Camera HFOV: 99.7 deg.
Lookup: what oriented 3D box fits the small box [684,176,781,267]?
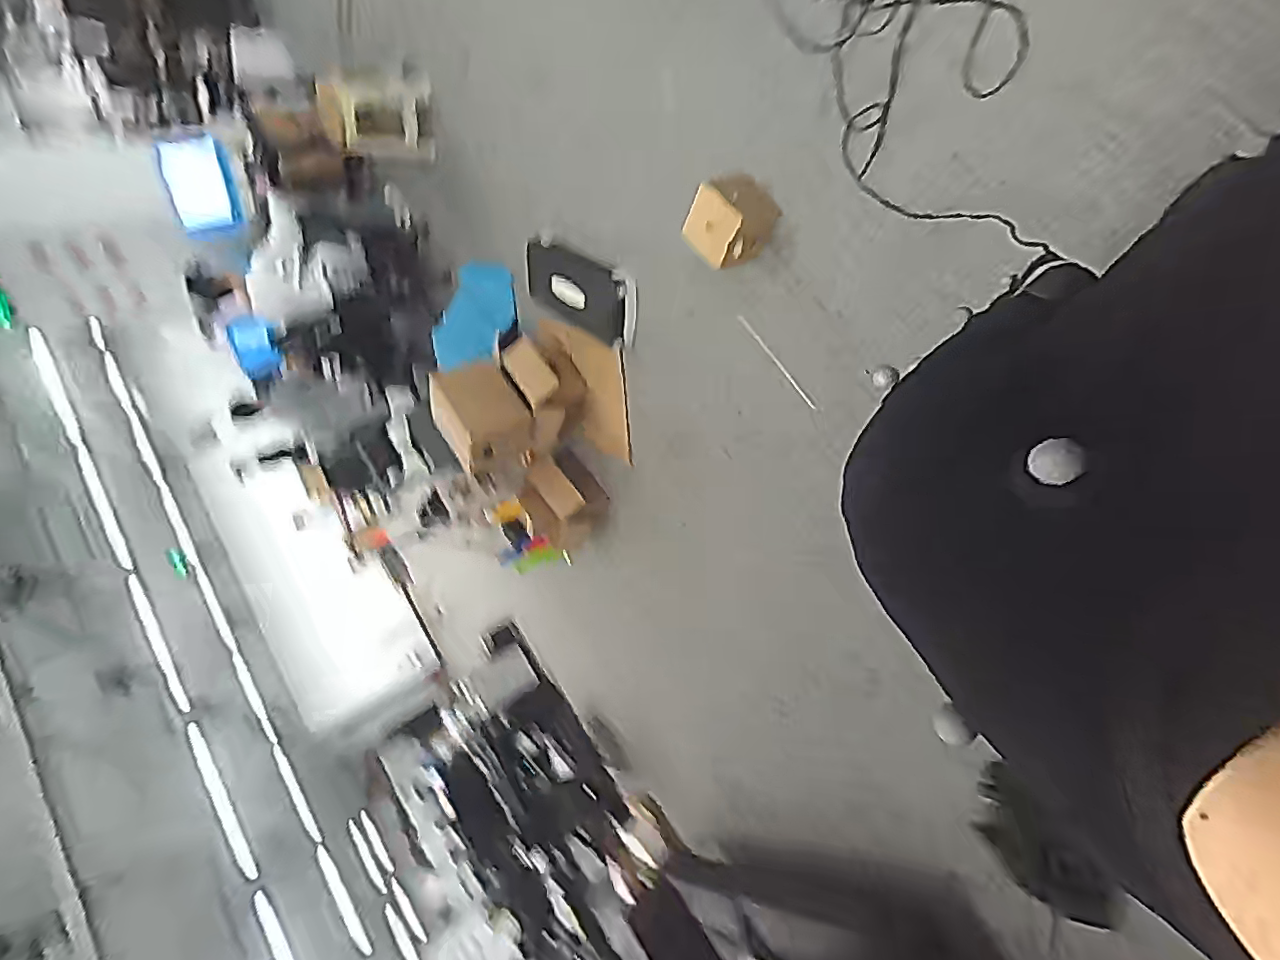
[{"bbox_3d":[0.263,-0.739,1.539,0.179,0.176,0.168,53,145,16],"label":"small box"}]
